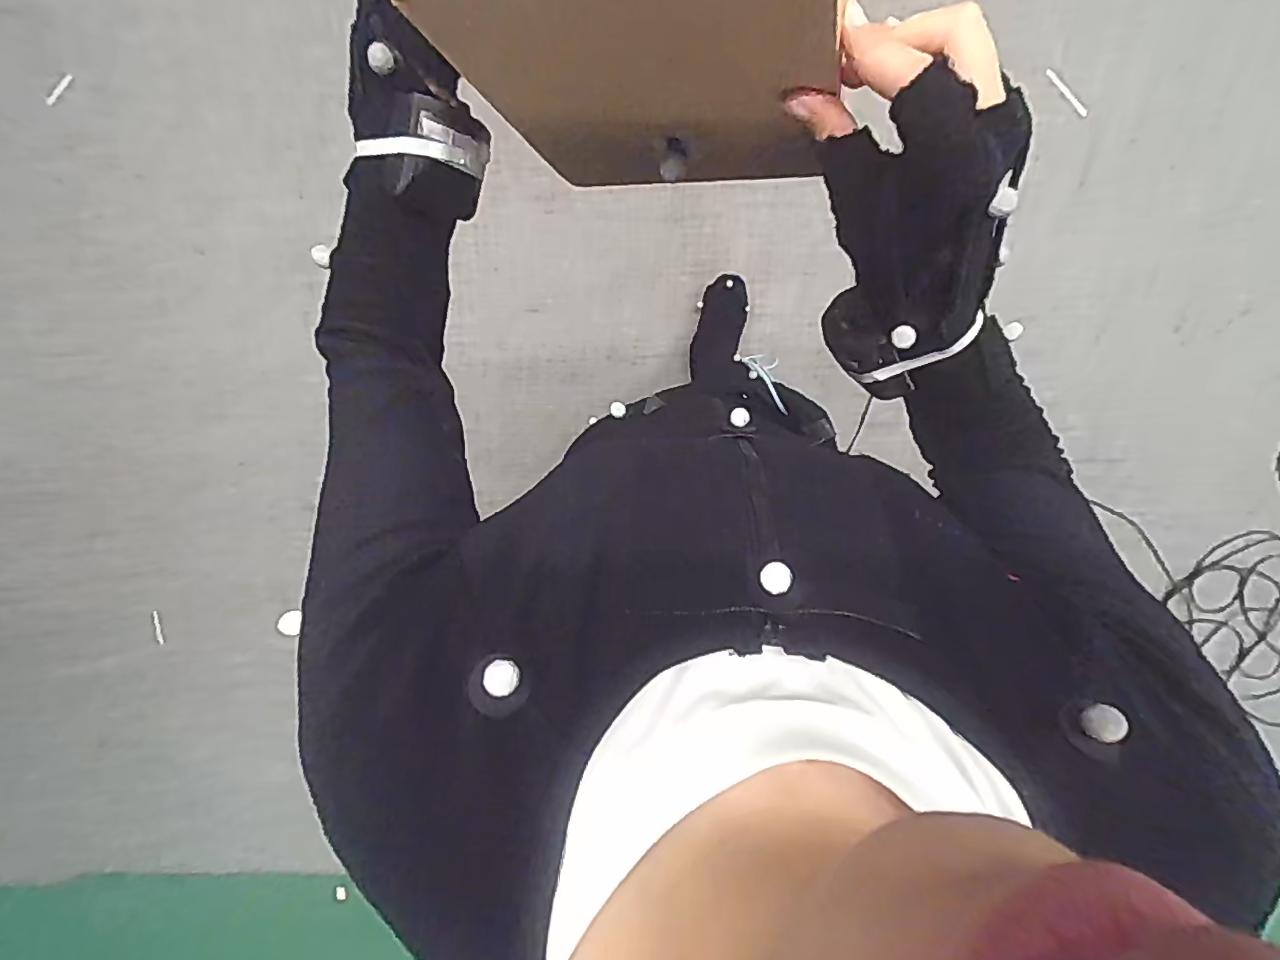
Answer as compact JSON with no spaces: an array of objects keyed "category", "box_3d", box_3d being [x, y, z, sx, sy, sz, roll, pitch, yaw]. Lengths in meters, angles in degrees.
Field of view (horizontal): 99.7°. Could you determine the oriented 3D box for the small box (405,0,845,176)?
[{"category":"small box","box_3d":[0.014,-0.275,0.269,0.179,0.176,0.168,8,95,18]}]
